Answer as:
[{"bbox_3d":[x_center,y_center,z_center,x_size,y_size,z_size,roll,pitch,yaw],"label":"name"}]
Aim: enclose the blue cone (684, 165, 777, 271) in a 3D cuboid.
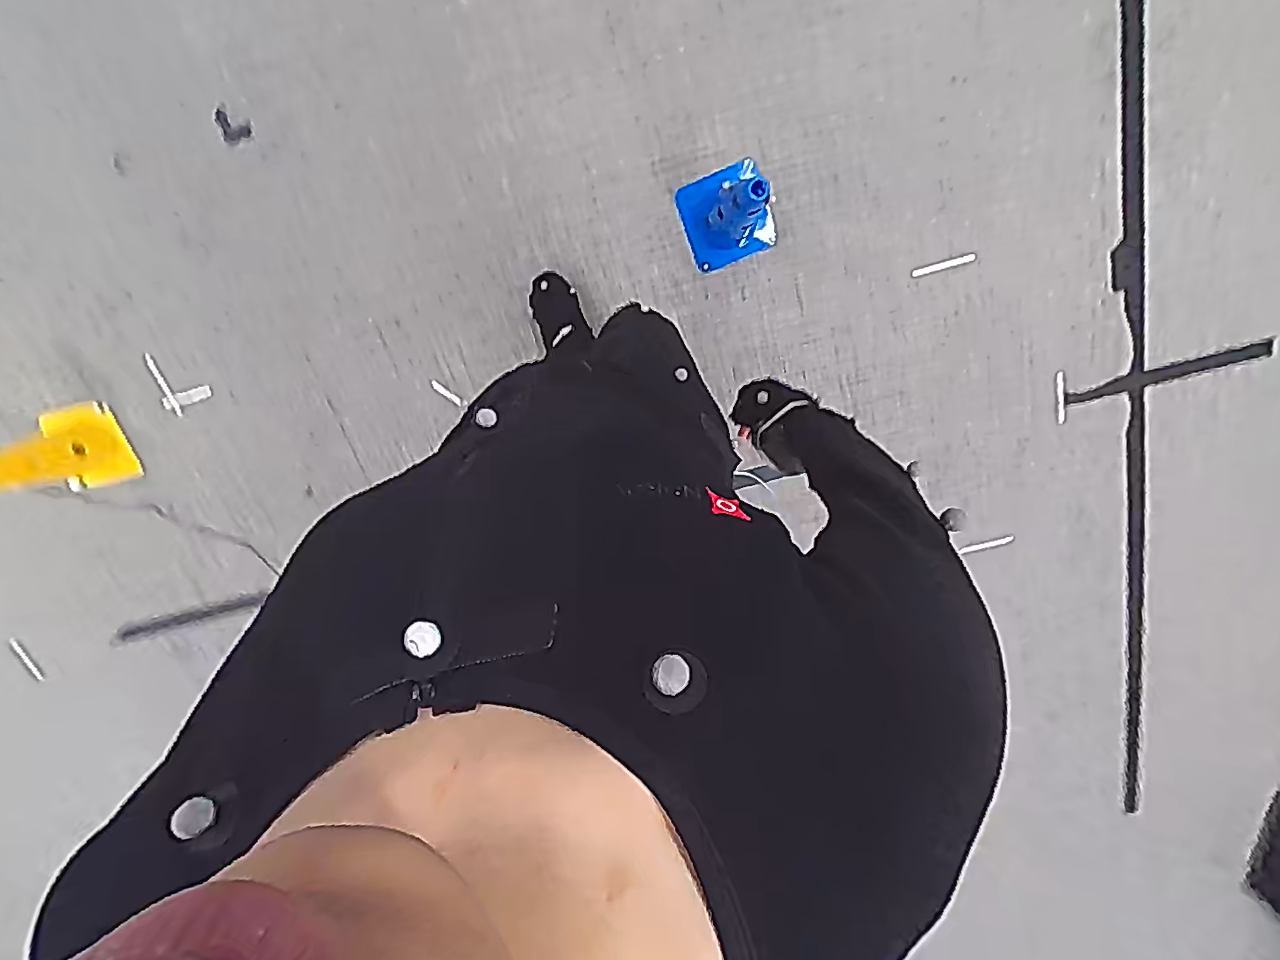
[{"bbox_3d":[0.213,-0.562,1.112,0.193,0.380,0.192,-20,108,6],"label":"blue cone"}]
